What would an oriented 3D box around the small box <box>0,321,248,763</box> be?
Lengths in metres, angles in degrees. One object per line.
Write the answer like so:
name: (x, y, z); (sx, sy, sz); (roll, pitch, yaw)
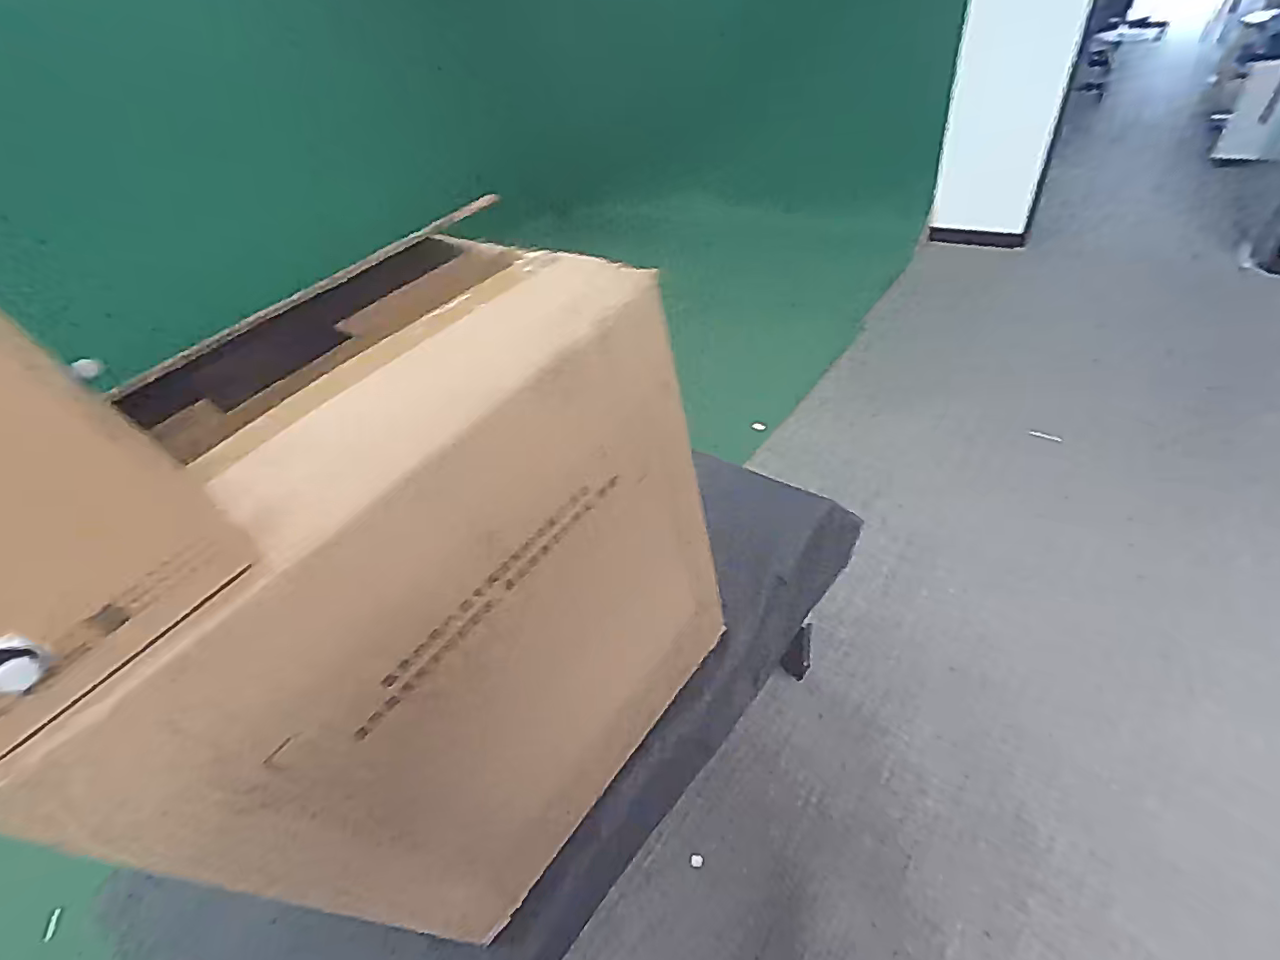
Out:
small box: (-0.349, 0.016, 0.262); (0.179, 0.176, 0.168); (23, 59, 32)
